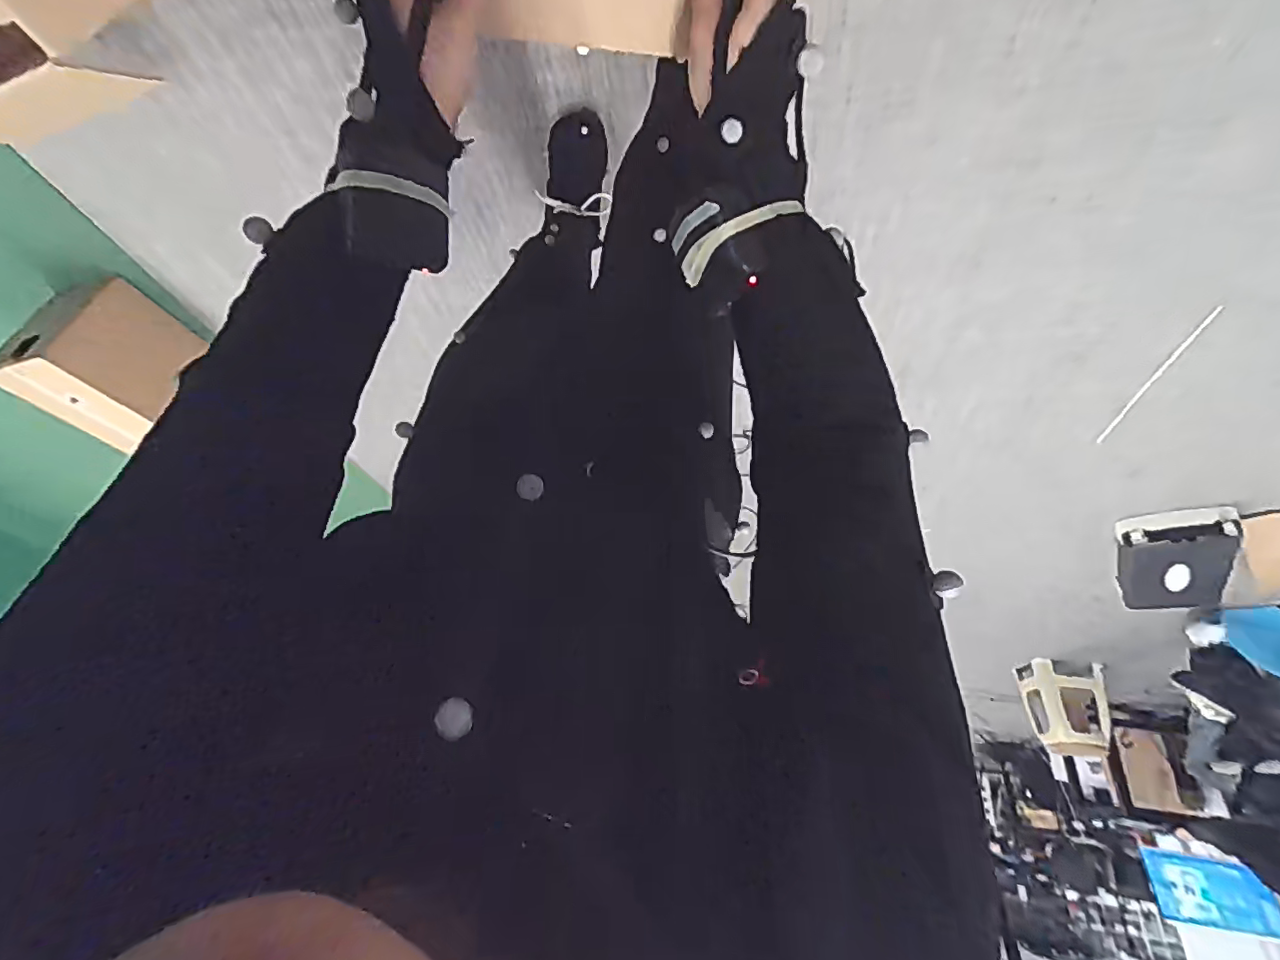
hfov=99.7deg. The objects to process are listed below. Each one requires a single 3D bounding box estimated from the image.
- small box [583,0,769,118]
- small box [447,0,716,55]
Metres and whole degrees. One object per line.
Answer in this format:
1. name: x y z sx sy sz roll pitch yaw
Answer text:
1. small box: 0.049 -0.627 0.722 0.179 0.168 0.176 13 180 -31
2. small box: -0.032 -0.409 0.347 0.179 0.176 0.168 2 144 -5
